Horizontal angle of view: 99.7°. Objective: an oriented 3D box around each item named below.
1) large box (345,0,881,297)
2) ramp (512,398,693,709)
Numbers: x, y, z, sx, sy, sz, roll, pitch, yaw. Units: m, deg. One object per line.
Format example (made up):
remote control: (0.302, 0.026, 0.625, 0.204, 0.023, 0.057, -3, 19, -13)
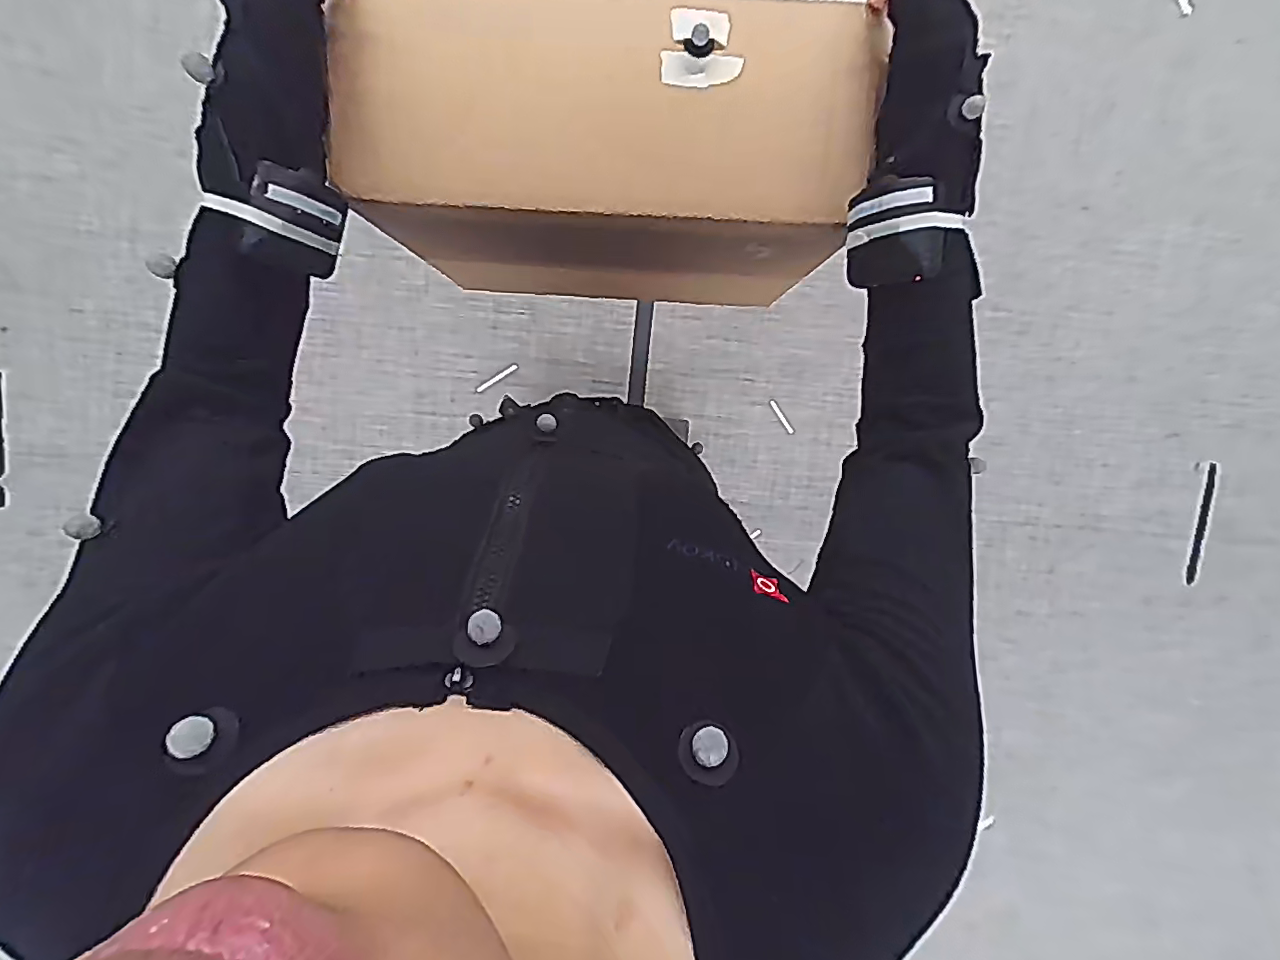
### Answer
large box: (-0.021, -0.380, 0.547, 0.408, 0.320, 0.320, 3, 98, -1)
ramp: (-0.133, 0.264, 1.610, 0.509, 0.206, 0.991, 3, 99, -2)
